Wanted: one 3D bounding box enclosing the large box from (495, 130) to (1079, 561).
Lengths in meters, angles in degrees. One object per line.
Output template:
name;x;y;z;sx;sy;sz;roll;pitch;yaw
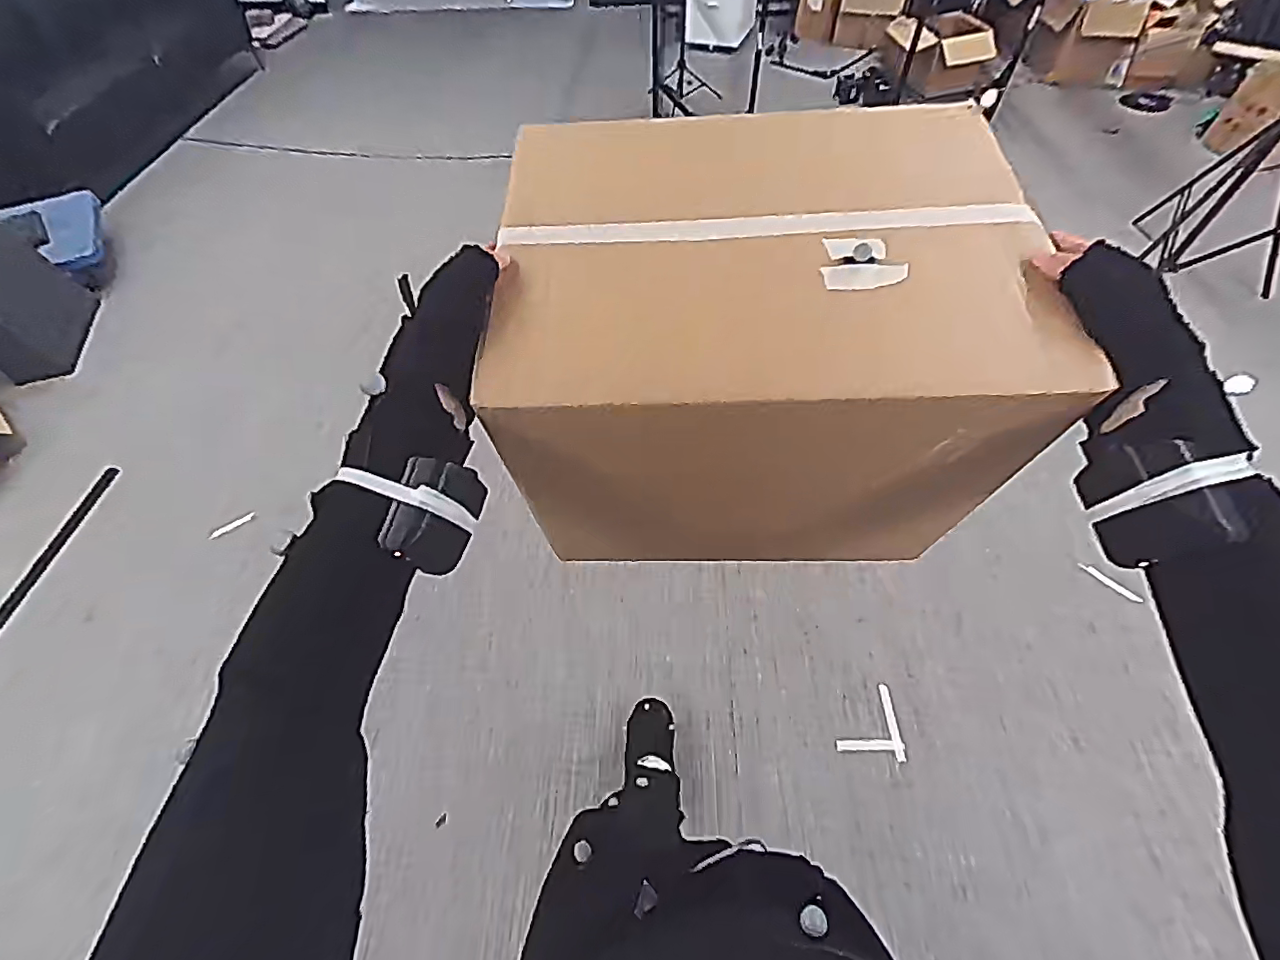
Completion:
large box;0.101;-0.113;0.565;0.408;0.320;0.320;-1;63;3
